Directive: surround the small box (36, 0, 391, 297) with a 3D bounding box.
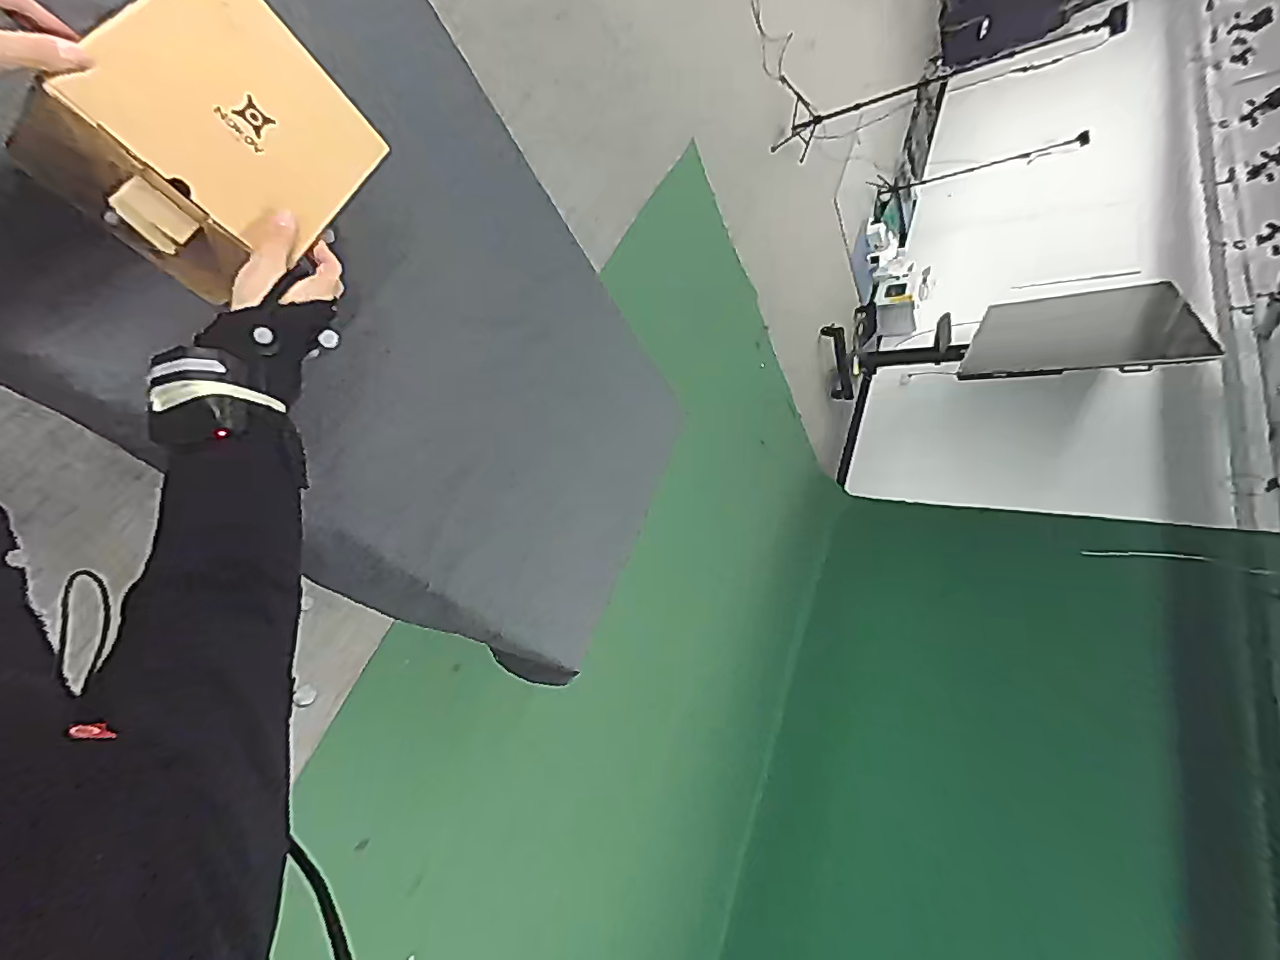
[{"bbox_3d":[-0.374,-0.292,0.483,0.168,0.176,0.179,46,58,-46],"label":"small box"}]
